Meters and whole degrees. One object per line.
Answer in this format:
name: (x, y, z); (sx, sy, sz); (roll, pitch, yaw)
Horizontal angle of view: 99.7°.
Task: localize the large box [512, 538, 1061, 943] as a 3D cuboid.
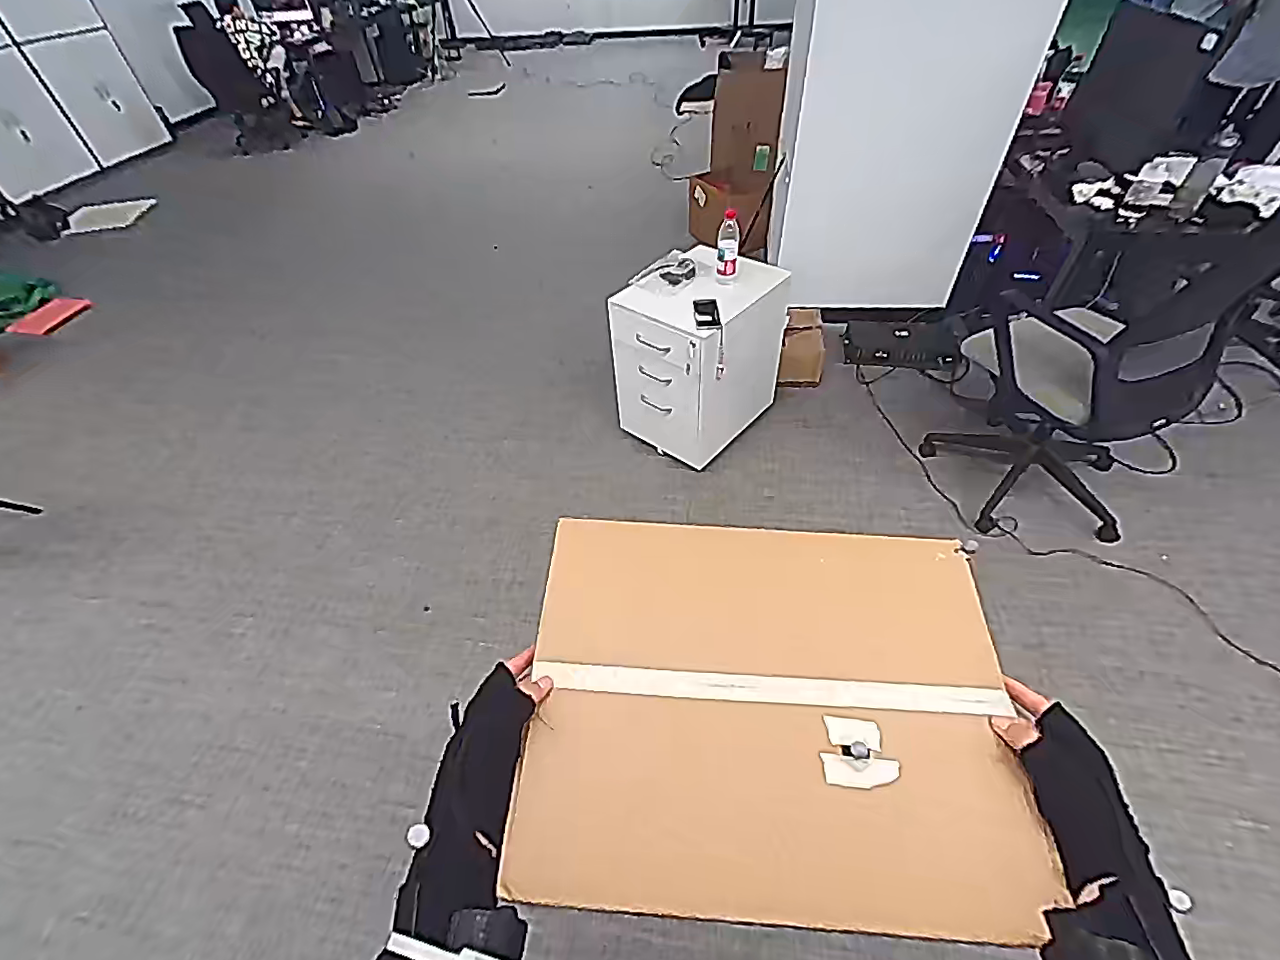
large box: (0.108, 0.278, 0.593); (0.408, 0.320, 0.320); (3, 56, 2)
